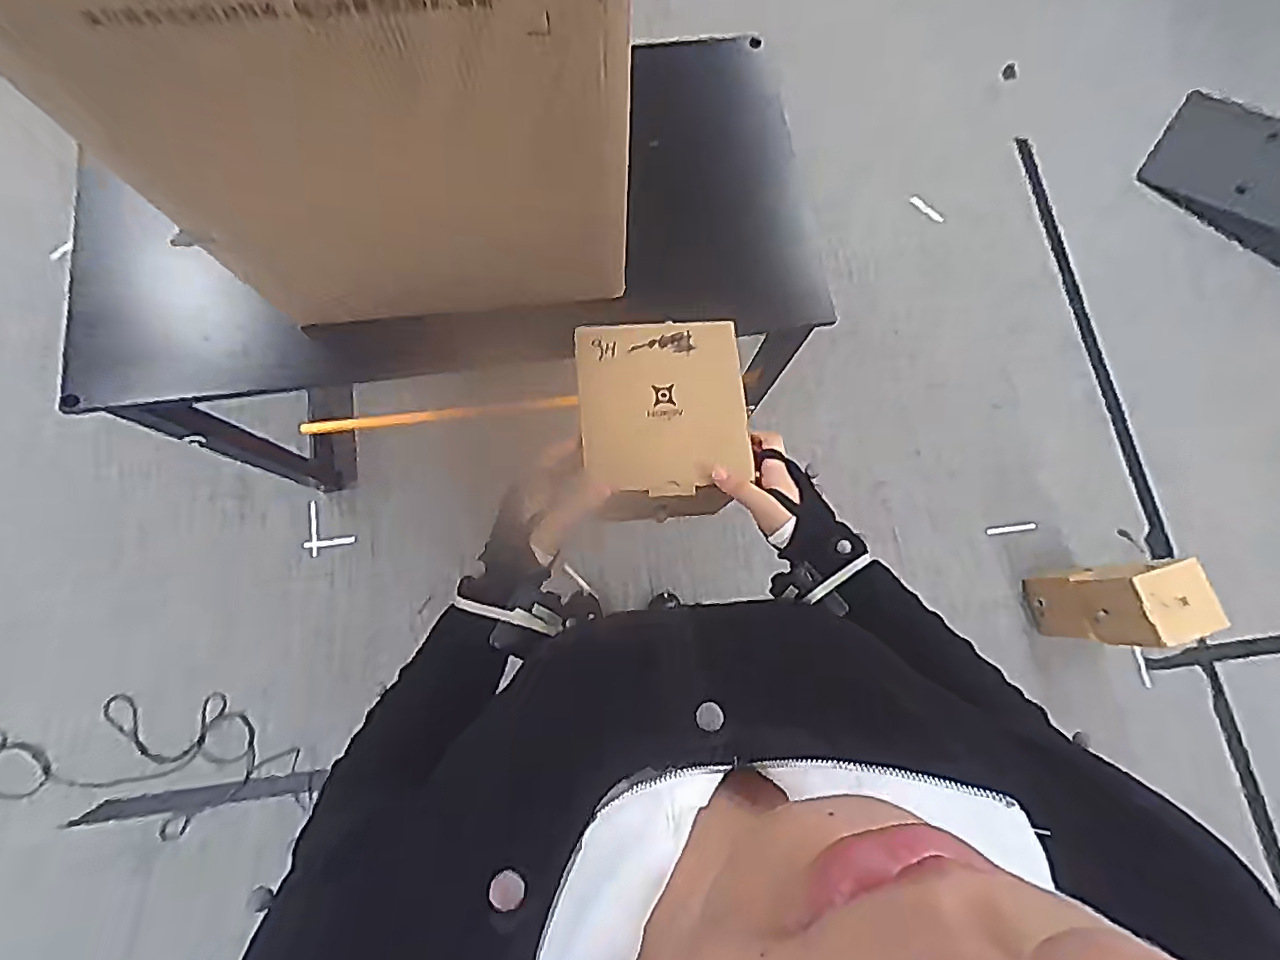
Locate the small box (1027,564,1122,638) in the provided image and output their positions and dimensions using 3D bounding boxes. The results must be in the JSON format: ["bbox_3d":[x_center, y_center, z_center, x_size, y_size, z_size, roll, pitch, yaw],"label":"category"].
[{"bbox_3d":[1.213,0.325,1.468,0.179,0.176,0.168,-11,77,-4],"label":"small box"}]

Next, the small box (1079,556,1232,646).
[{"bbox_3d":[1.233,0.290,1.307,0.179,0.176,0.168,-15,77,-6],"label":"small box"}]

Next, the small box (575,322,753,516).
[{"bbox_3d":[0.017,-0.056,0.605,0.168,0.176,0.179,-4,78,-6],"label":"small box"}]
